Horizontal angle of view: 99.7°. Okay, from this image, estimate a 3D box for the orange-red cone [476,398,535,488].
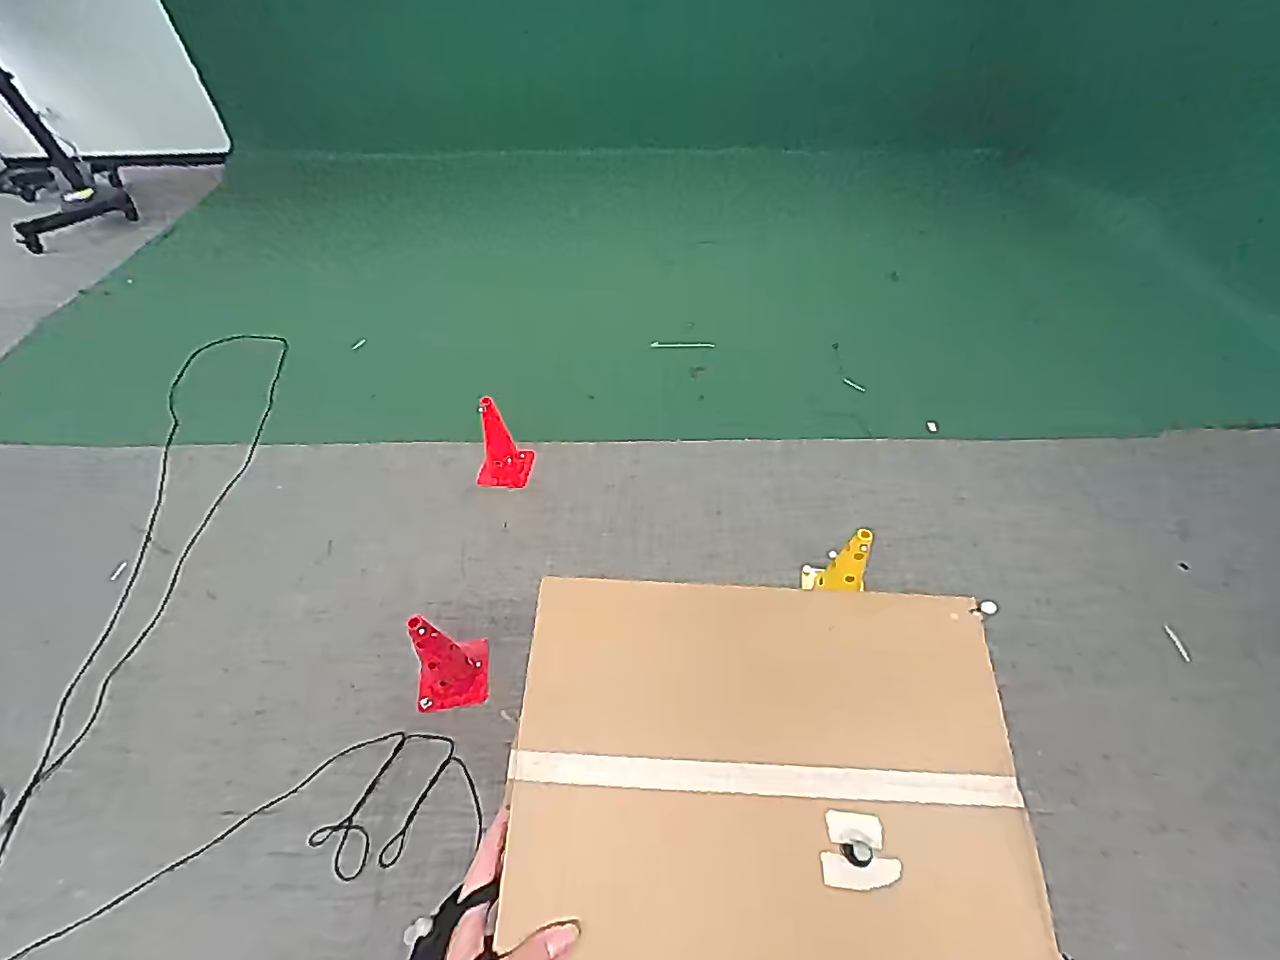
[{"bbox_3d":[-0.540,-0.159,2.021,0.199,0.360,0.198,5,49,7],"label":"orange-red cone"}]

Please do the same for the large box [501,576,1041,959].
[{"bbox_3d":[0.097,0.302,0.584,0.408,0.320,0.320,2,65,1],"label":"large box"}]
